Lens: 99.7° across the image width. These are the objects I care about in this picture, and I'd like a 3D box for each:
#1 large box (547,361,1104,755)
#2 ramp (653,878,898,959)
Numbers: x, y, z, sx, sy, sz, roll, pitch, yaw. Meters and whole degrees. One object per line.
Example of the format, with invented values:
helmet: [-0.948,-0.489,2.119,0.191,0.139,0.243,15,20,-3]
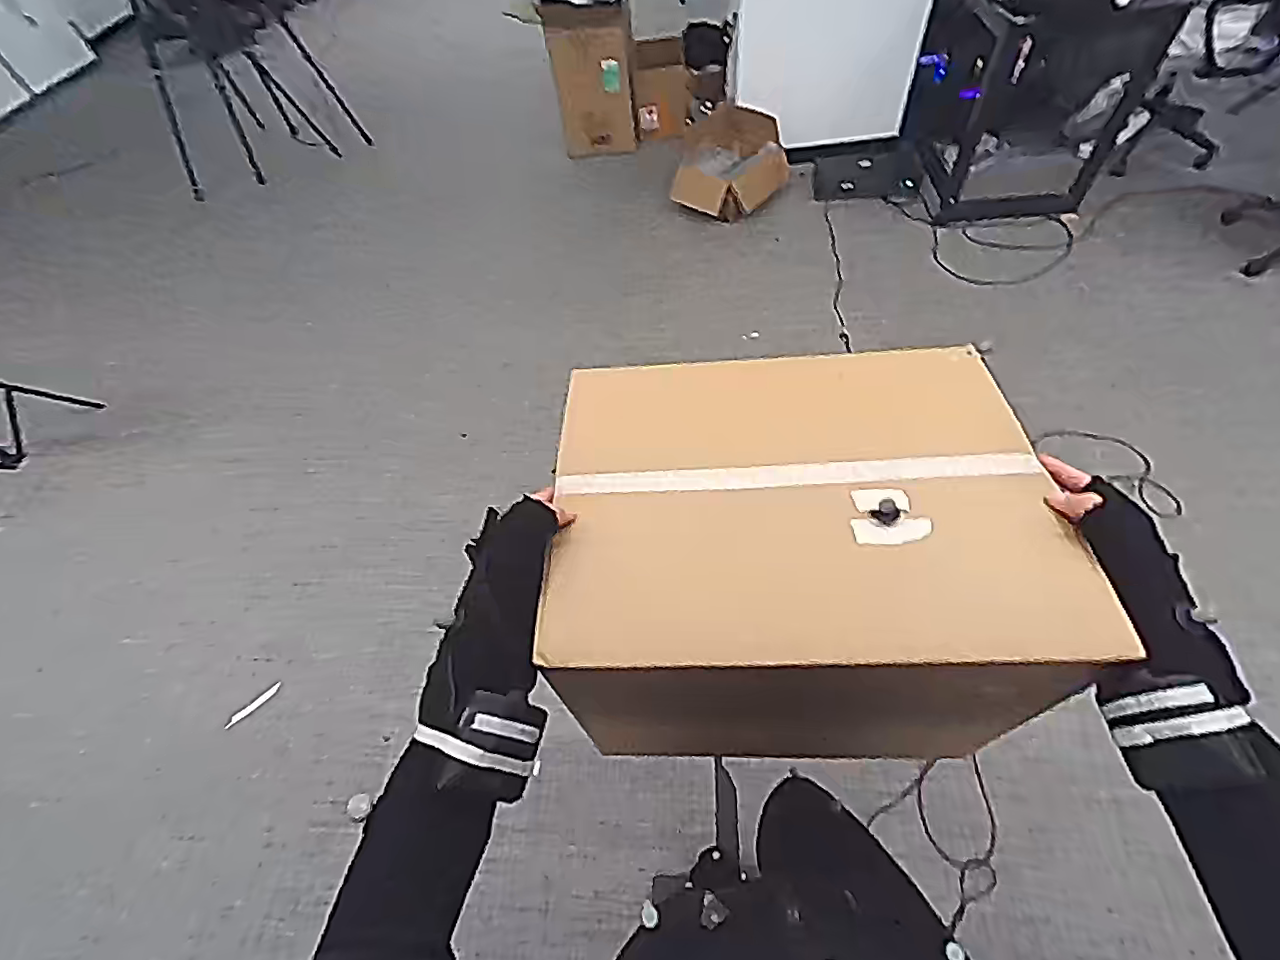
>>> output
large box: [0.138,0.098,0.594,0.408,0.320,0.320,-2,52,5]
ramp: [0.252,1.234,0.835,0.509,0.206,0.991,-4,55,6]
